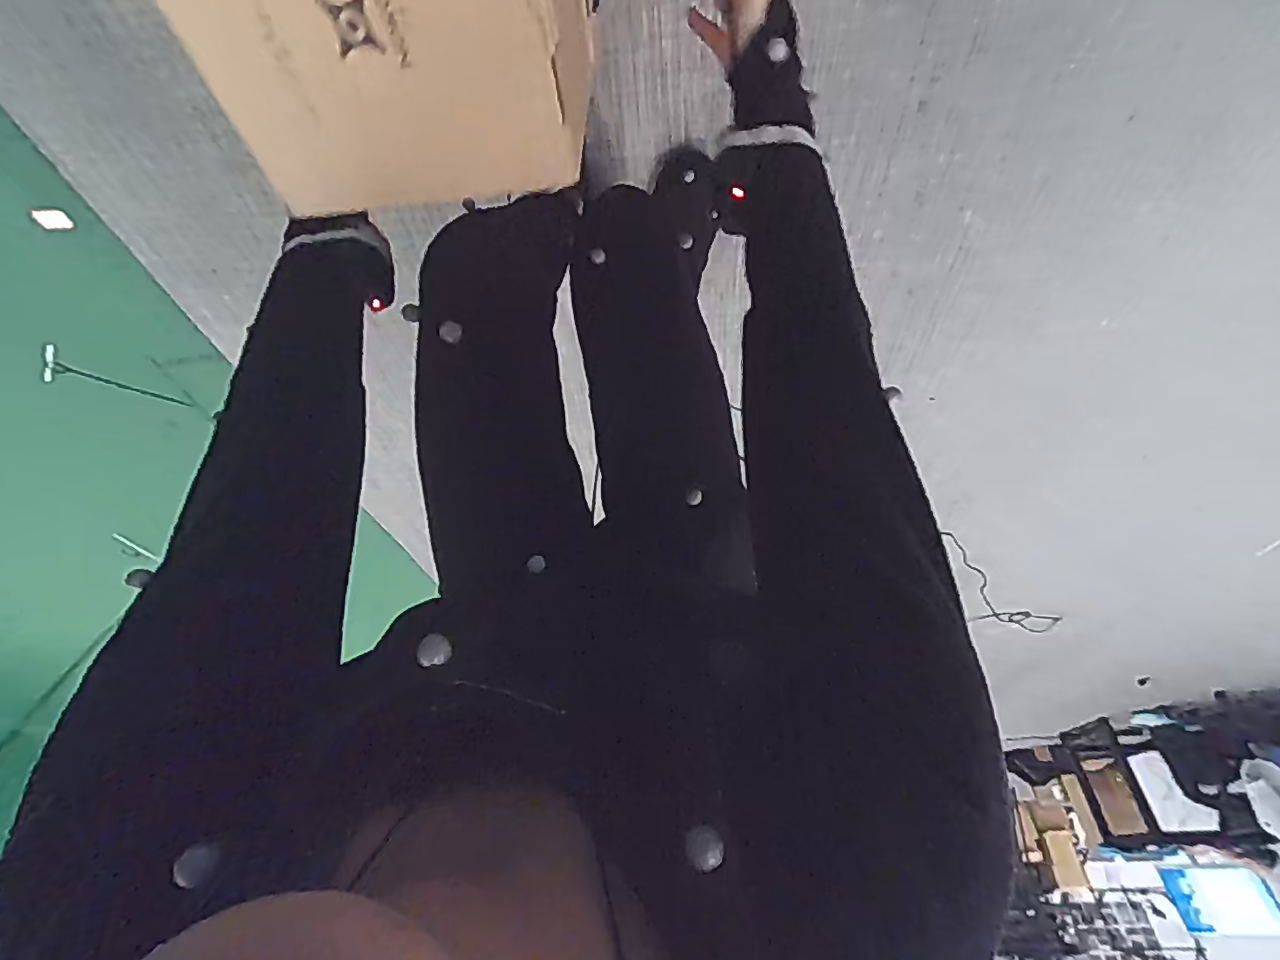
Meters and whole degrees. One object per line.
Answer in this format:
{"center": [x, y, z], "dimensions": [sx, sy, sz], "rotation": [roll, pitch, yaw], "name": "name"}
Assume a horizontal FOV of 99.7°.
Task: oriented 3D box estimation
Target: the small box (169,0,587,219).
{"center": [-0.128, -0.276, 0.306], "dimensions": [0.179, 0.176, 0.168], "rotation": [-3, 142, 5], "name": "small box"}
